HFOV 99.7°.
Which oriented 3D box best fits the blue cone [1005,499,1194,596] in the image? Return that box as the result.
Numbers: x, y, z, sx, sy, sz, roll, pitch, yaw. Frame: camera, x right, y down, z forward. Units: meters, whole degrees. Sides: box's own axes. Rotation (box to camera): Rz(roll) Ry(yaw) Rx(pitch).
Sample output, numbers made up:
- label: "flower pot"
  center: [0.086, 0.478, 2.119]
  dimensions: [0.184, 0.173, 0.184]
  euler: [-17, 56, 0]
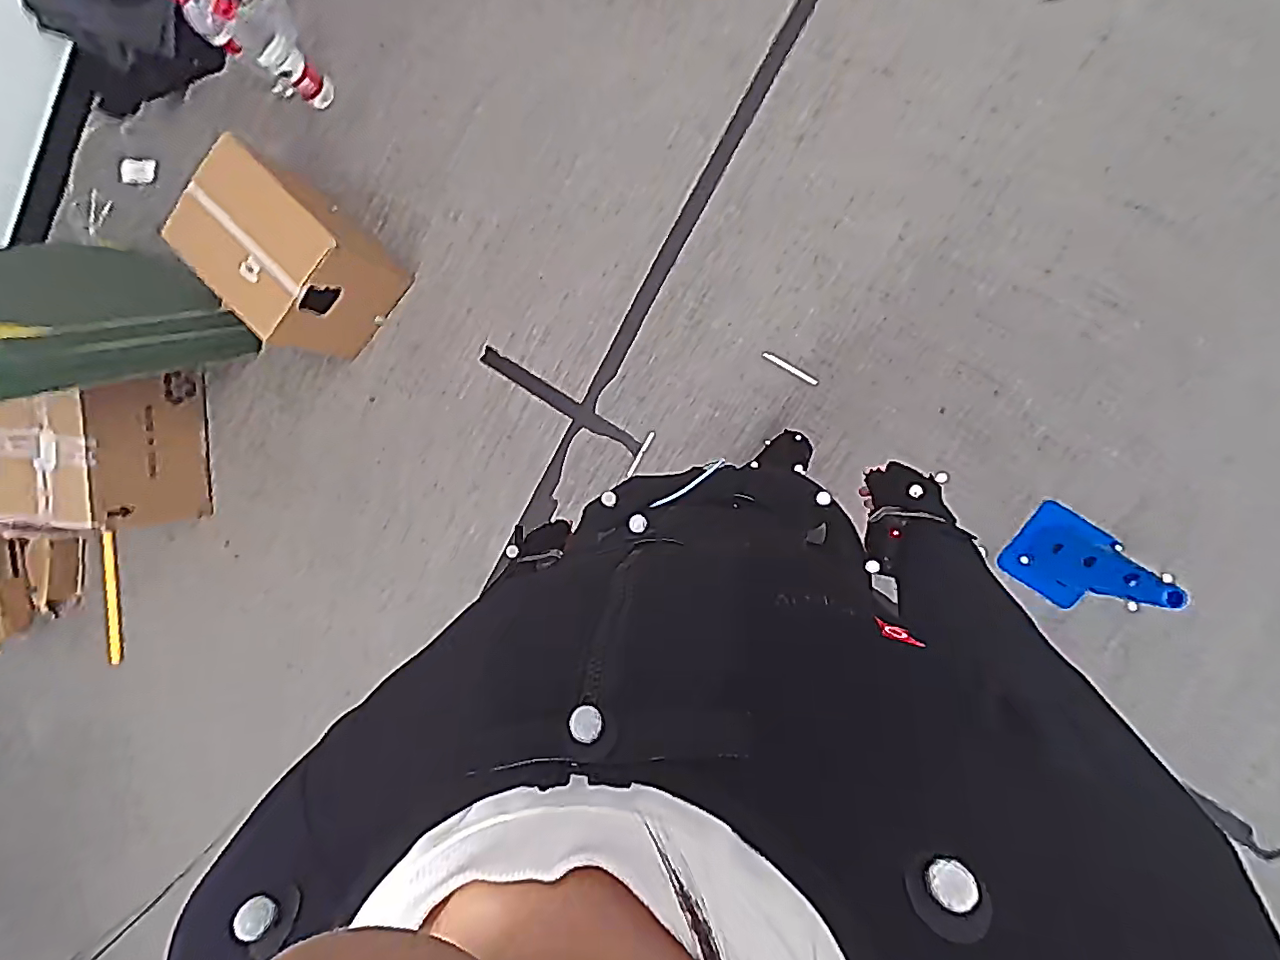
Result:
- label: "blue cone"
  center: [0.953, 0.170, 1.105]
  dimensions: [0.193, 0.380, 0.192]
  euler: [36, 99, 7]
